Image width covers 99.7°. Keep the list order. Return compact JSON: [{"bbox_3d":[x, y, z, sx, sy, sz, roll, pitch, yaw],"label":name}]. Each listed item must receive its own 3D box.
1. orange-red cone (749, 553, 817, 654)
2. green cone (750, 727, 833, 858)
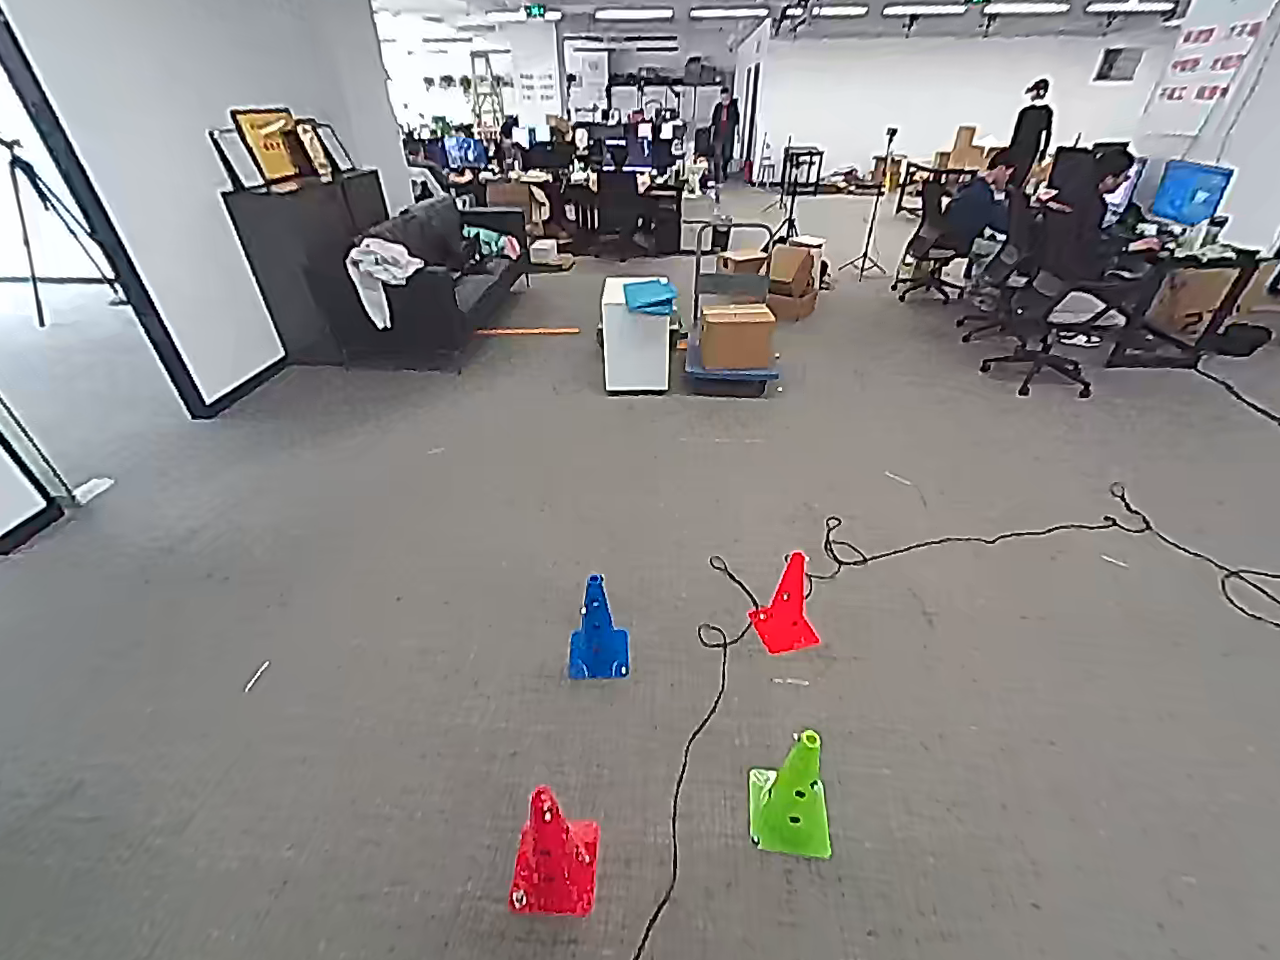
[{"bbox_3d":[0.506,0.389,1.834,0.198,0.360,0.199,-9,37,-10],"label":"orange-red cone"},{"bbox_3d":[0.395,0.734,1.329,0.200,0.368,0.202,4,34,6],"label":"green cone"}]
